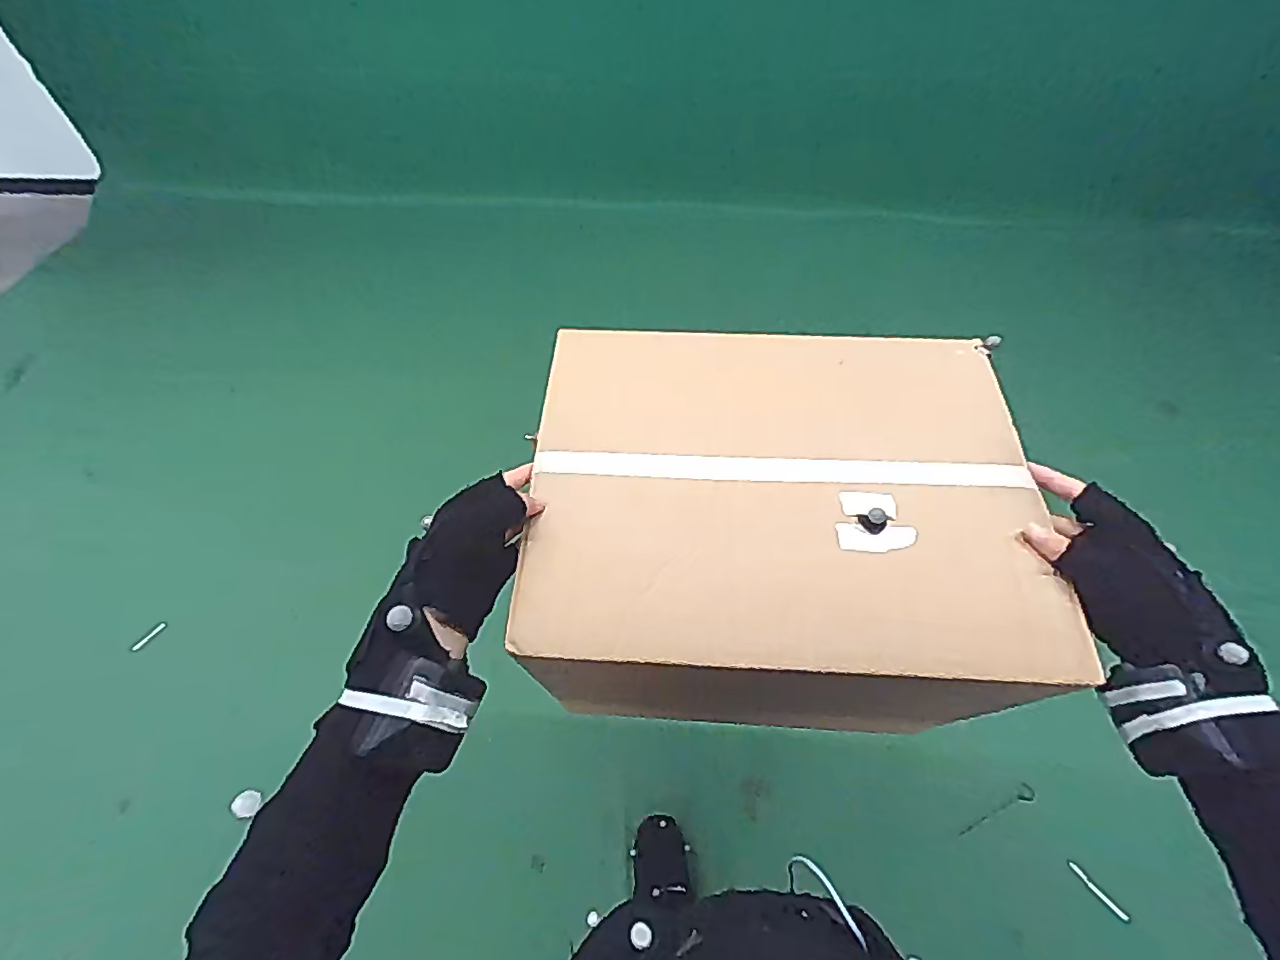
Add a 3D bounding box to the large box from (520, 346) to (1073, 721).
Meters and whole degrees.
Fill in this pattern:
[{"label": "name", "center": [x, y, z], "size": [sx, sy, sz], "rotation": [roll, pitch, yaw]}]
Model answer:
[{"label": "large box", "center": [0.115, 0.074, 0.588], "size": [0.408, 0.320, 0.320], "rotation": [1, 60, 3]}]
